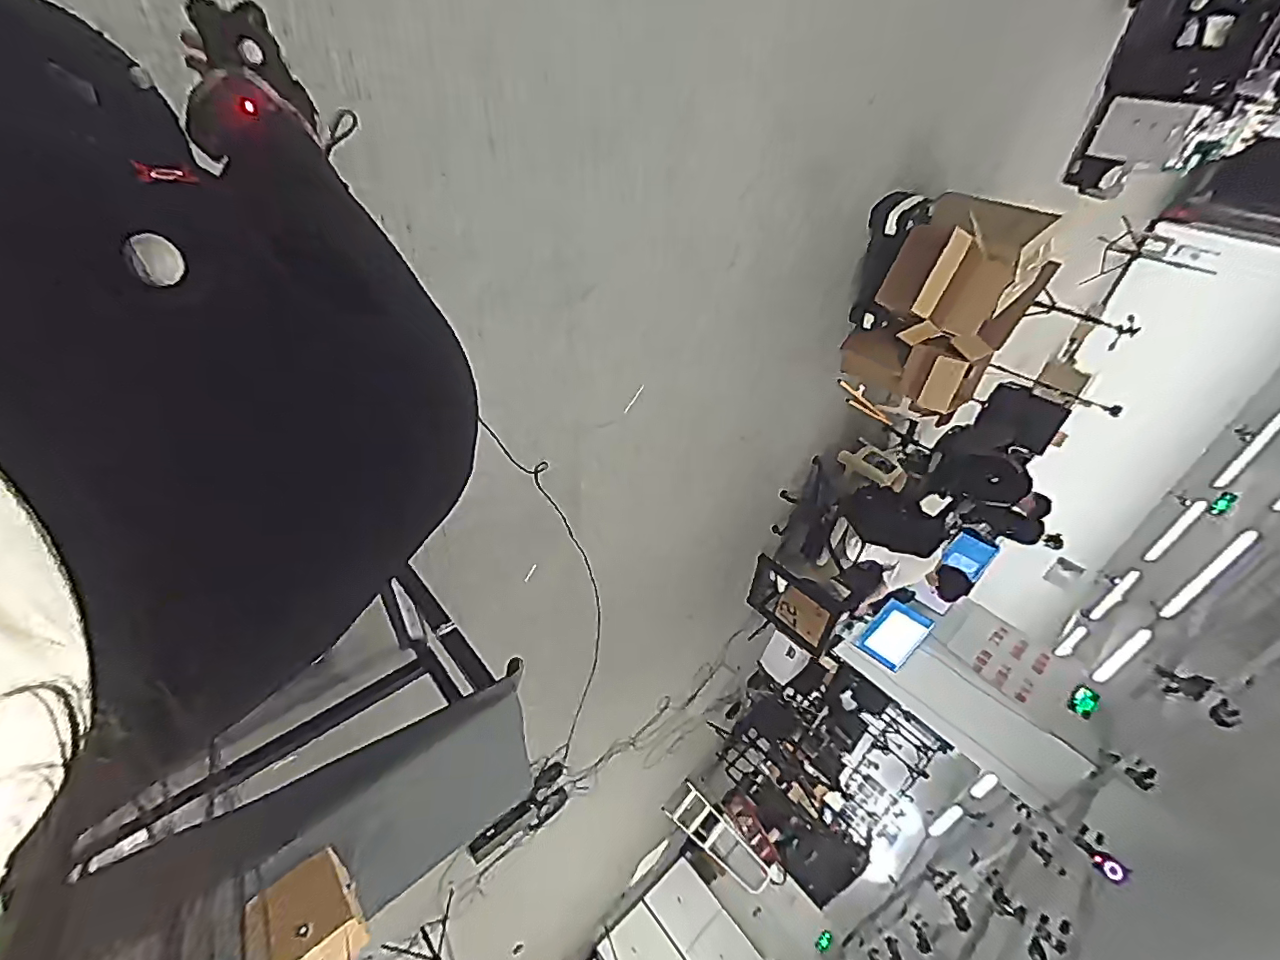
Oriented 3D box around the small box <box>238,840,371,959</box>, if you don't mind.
[{"bbox_3d":[-0.706,0.915,1.143,0.179,0.176,0.168,-26,138,-33],"label":"small box"}]
